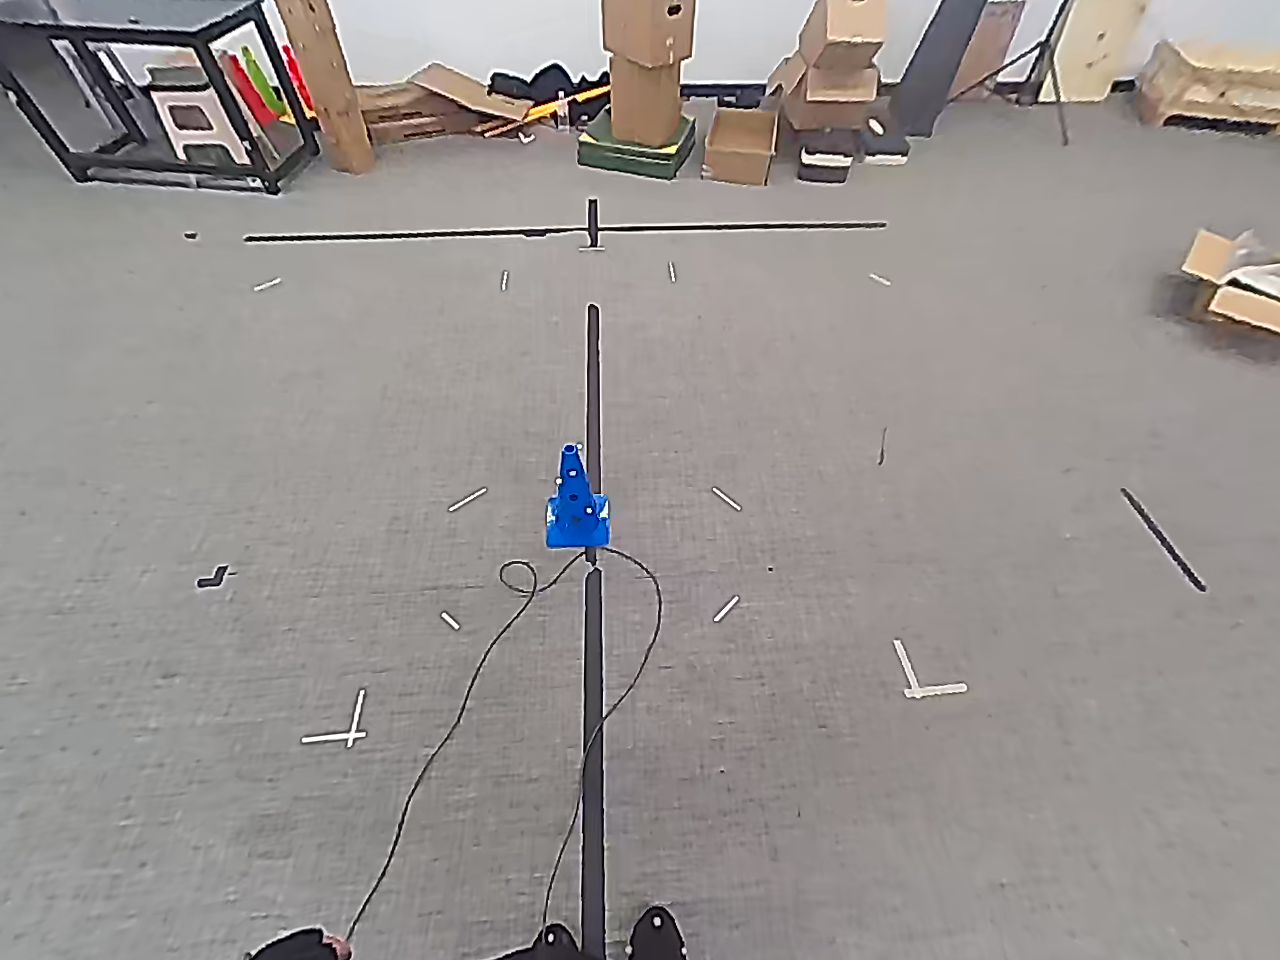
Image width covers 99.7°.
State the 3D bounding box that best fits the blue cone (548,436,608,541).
[{"bbox_3d":[-0.198,0.014,1.594,0.193,0.380,0.192,-3,53,-3],"label":"blue cone"}]
